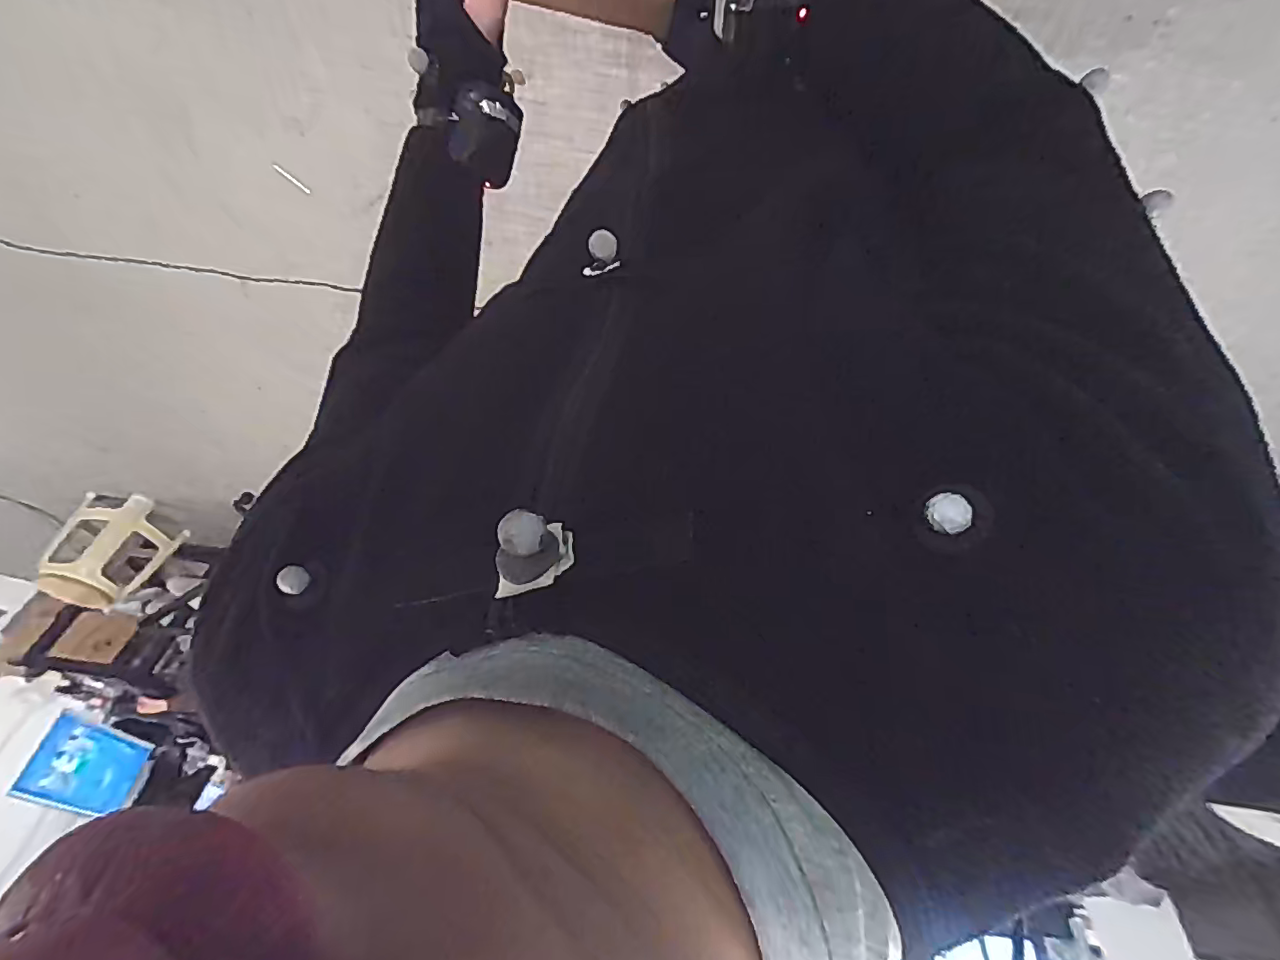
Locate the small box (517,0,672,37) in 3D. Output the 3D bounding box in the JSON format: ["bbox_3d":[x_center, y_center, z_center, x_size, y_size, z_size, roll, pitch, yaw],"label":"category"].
[{"bbox_3d":[-0.037,-0.516,0.425,0.168,0.176,0.179,5,163,-12],"label":"small box"}]
